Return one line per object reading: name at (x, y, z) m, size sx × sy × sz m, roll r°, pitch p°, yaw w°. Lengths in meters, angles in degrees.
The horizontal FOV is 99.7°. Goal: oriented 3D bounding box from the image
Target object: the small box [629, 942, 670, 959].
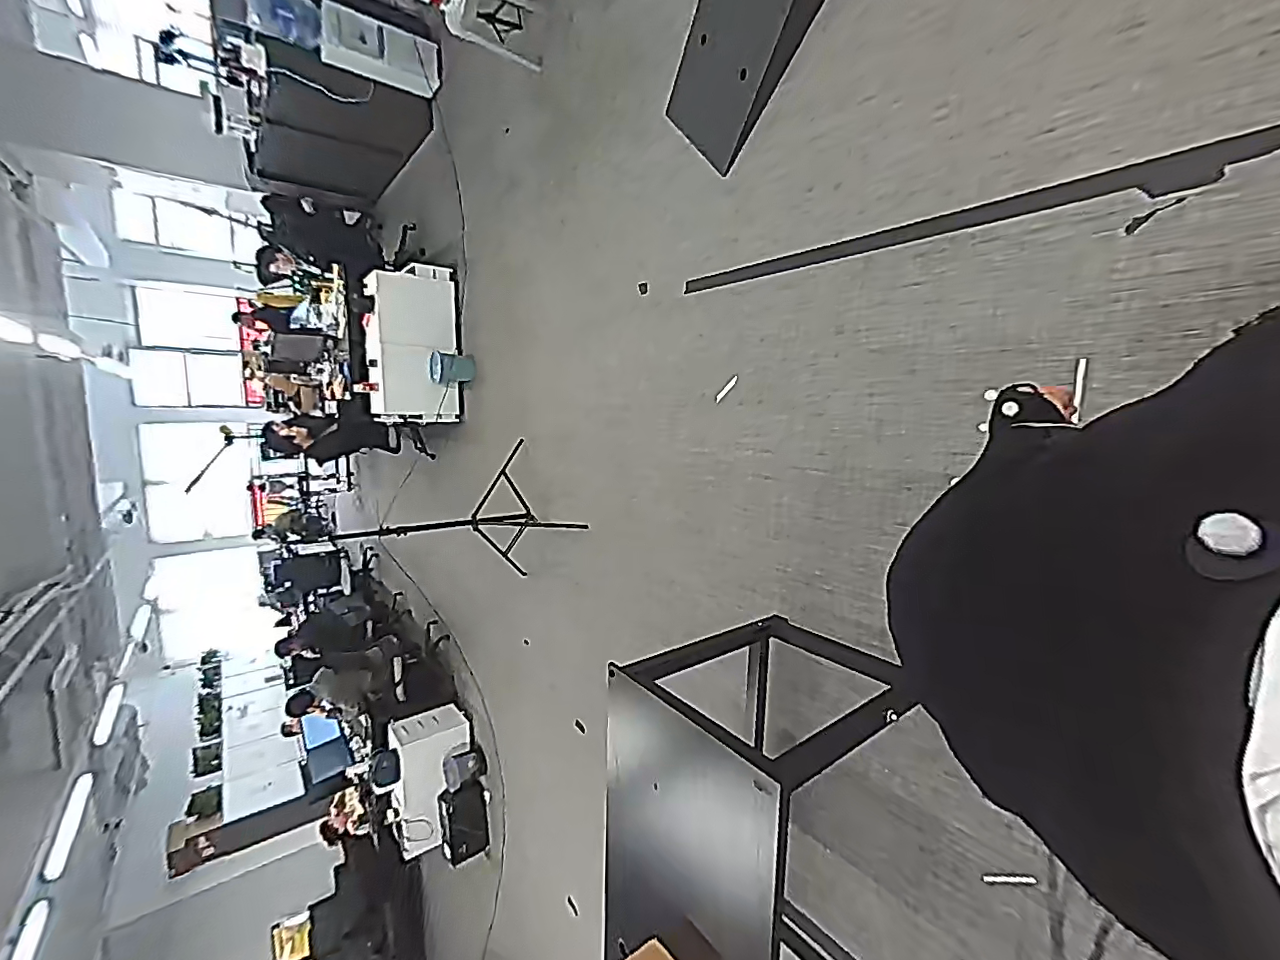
small box at (0.021, 1.311, 1.332) m, size 0.179 × 0.176 × 0.168 m, roll 11°, pitch 101°, yaw 52°
